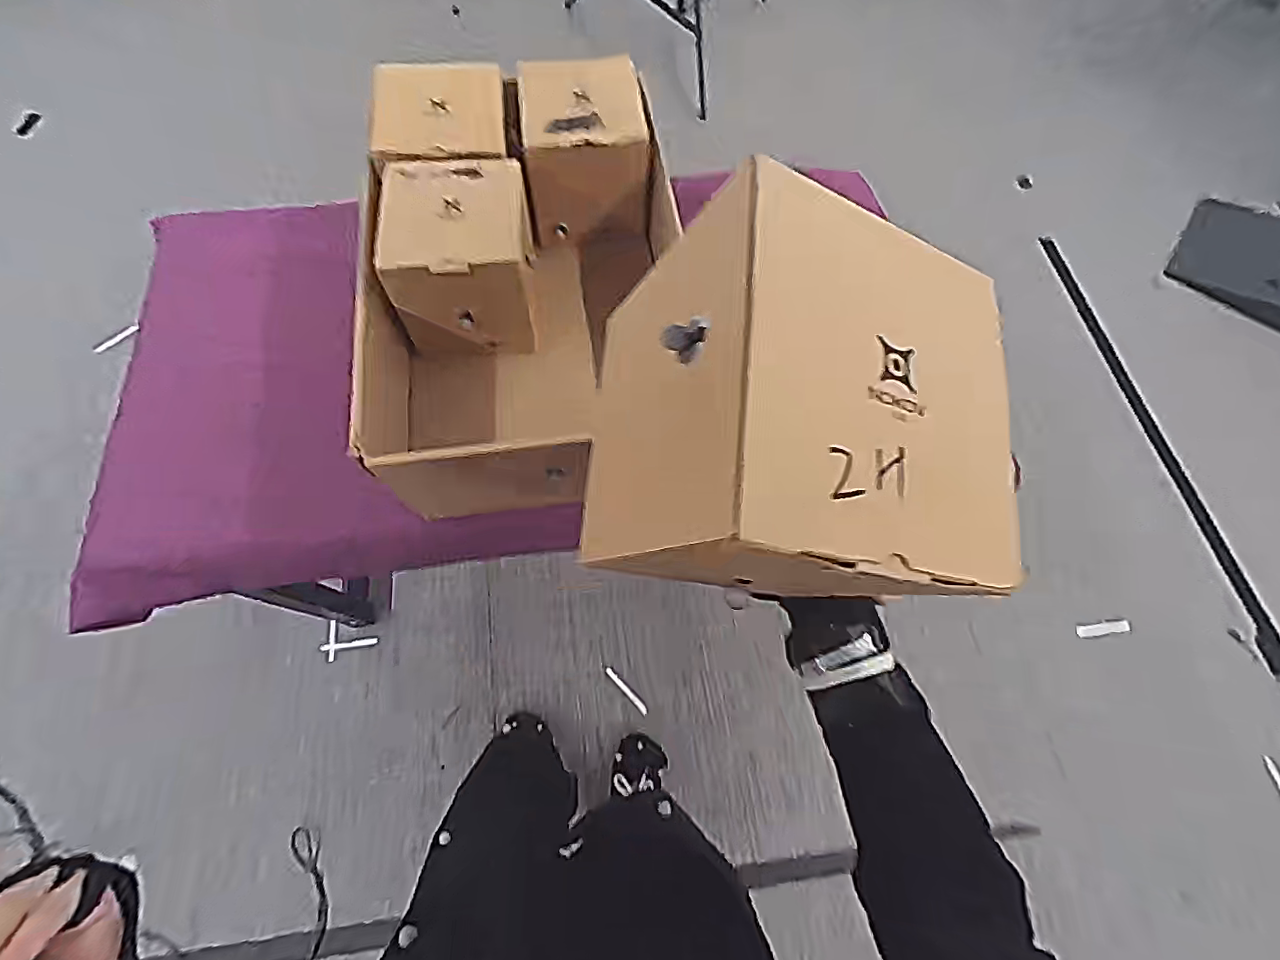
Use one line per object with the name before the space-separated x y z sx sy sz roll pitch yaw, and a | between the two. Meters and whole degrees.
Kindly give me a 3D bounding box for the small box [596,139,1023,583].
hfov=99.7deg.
small box | 0.083 -0.039 0.320 0.168 0.176 0.179 12 74 -23
